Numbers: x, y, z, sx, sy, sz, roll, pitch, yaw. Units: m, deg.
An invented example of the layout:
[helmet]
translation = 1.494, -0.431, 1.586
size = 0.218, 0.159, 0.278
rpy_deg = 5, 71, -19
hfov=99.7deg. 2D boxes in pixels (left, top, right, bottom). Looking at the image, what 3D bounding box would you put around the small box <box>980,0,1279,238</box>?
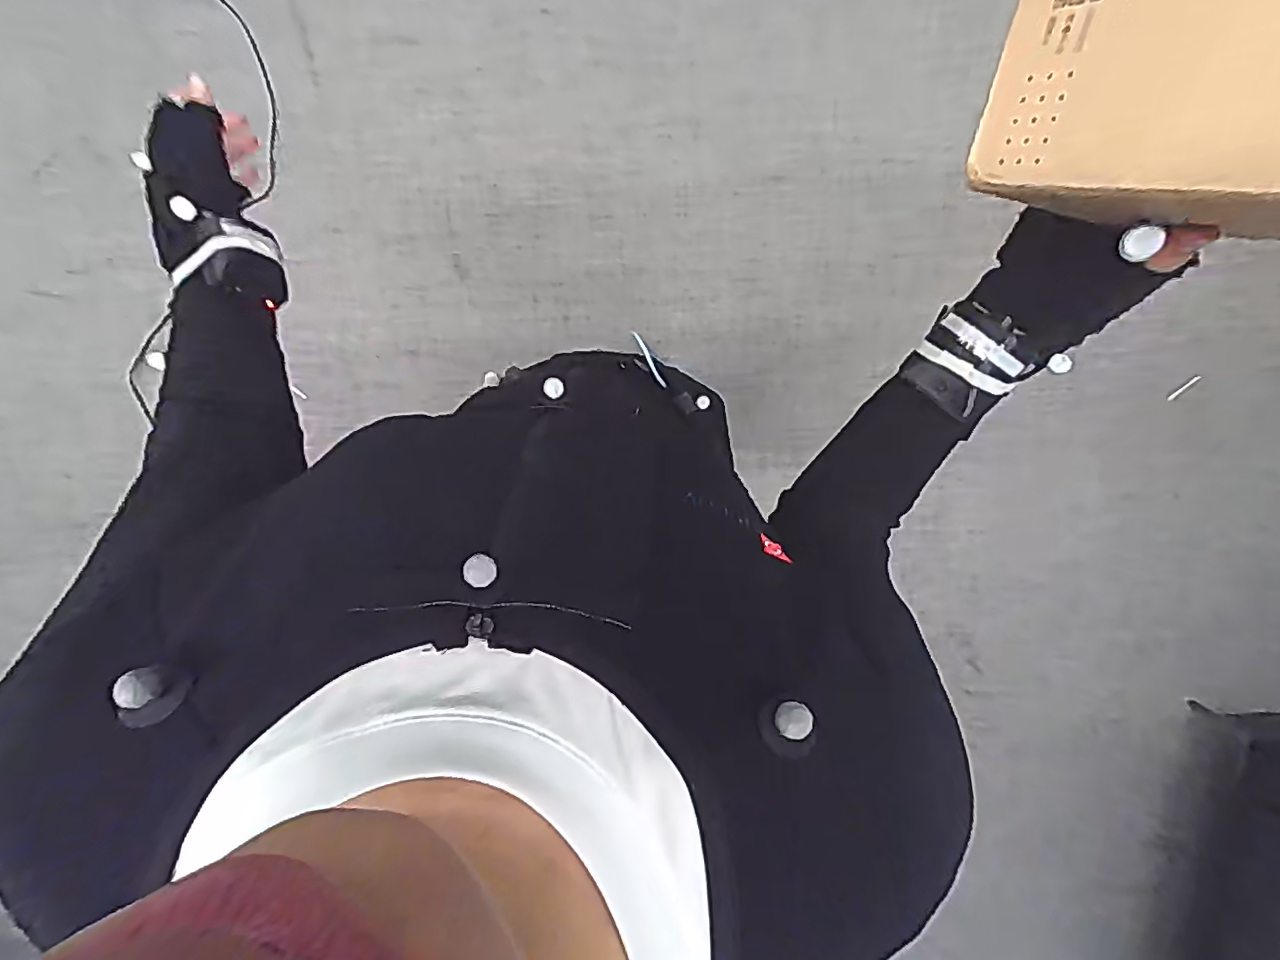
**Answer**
[small box]
translation = 0.251, -0.167, 0.163
size = 0.179, 0.176, 0.168
rpy_deg = -11, 122, -32
